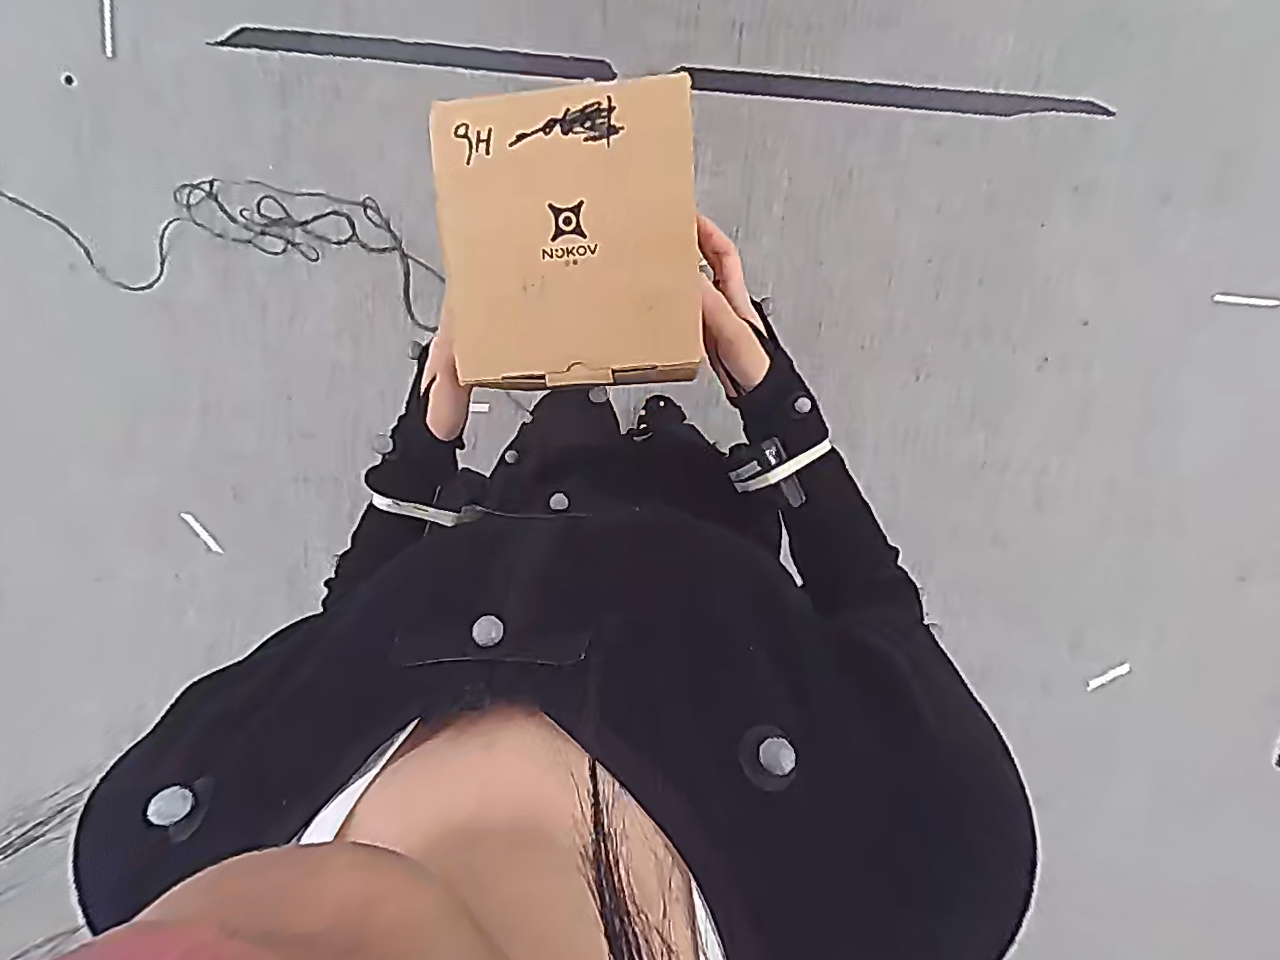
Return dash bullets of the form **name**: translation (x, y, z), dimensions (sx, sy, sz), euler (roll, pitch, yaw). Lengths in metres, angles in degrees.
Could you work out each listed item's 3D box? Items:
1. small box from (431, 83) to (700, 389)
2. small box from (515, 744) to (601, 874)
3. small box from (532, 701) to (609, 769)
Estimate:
- **small box**: translation (-0.041, -0.165, 0.428), dimensions (0.168, 0.176, 0.179), euler (-4, 98, 3)
- **small box**: translation (-0.191, 0.719, 1.201), dimensions (0.179, 0.176, 0.168), euler (13, 98, 1)
- **small box**: translation (-0.184, 0.687, 1.359), dimensions (0.179, 0.176, 0.168), euler (16, 98, 0)
